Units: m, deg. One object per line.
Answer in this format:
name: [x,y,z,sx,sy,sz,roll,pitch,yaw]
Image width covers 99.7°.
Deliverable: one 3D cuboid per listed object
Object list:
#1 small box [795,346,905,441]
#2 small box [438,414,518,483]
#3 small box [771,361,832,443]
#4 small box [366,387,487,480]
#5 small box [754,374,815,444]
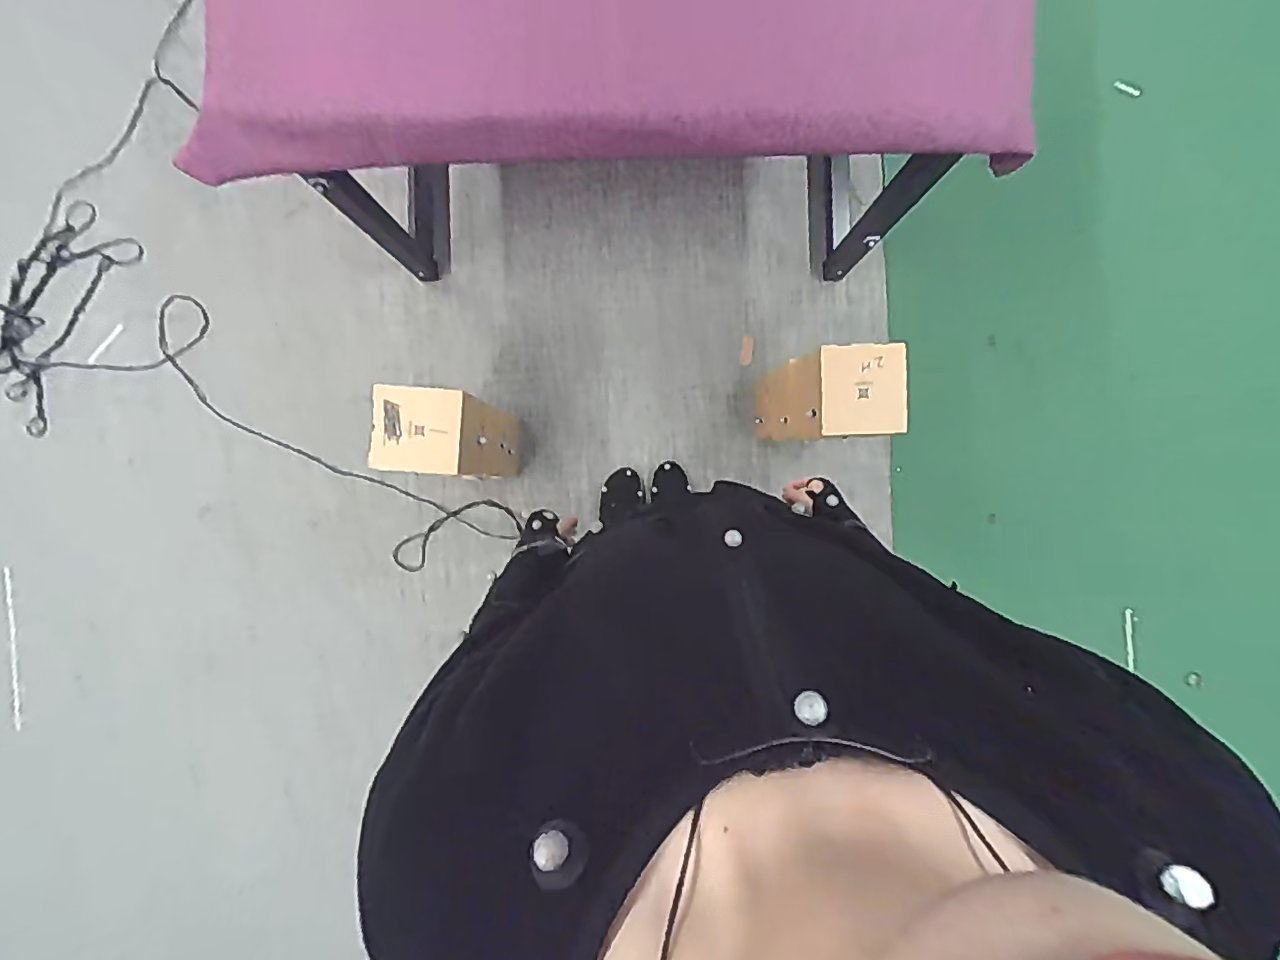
small box: [0.424,-0.169,1.112,0.168,0.176,0.179,-2,91,0]
small box: [-0.426,-0.084,1.440,0.168,0.176,0.179,2,91,0]
small box: [0.410,-0.180,1.277,0.168,0.176,0.179,-2,91,0]
small box: [-0.430,-0.089,1.111,0.179,0.176,0.168,4,90,0]
small box: [0.405,-0.183,1.438,0.179,0.176,0.168,0,90,0]
